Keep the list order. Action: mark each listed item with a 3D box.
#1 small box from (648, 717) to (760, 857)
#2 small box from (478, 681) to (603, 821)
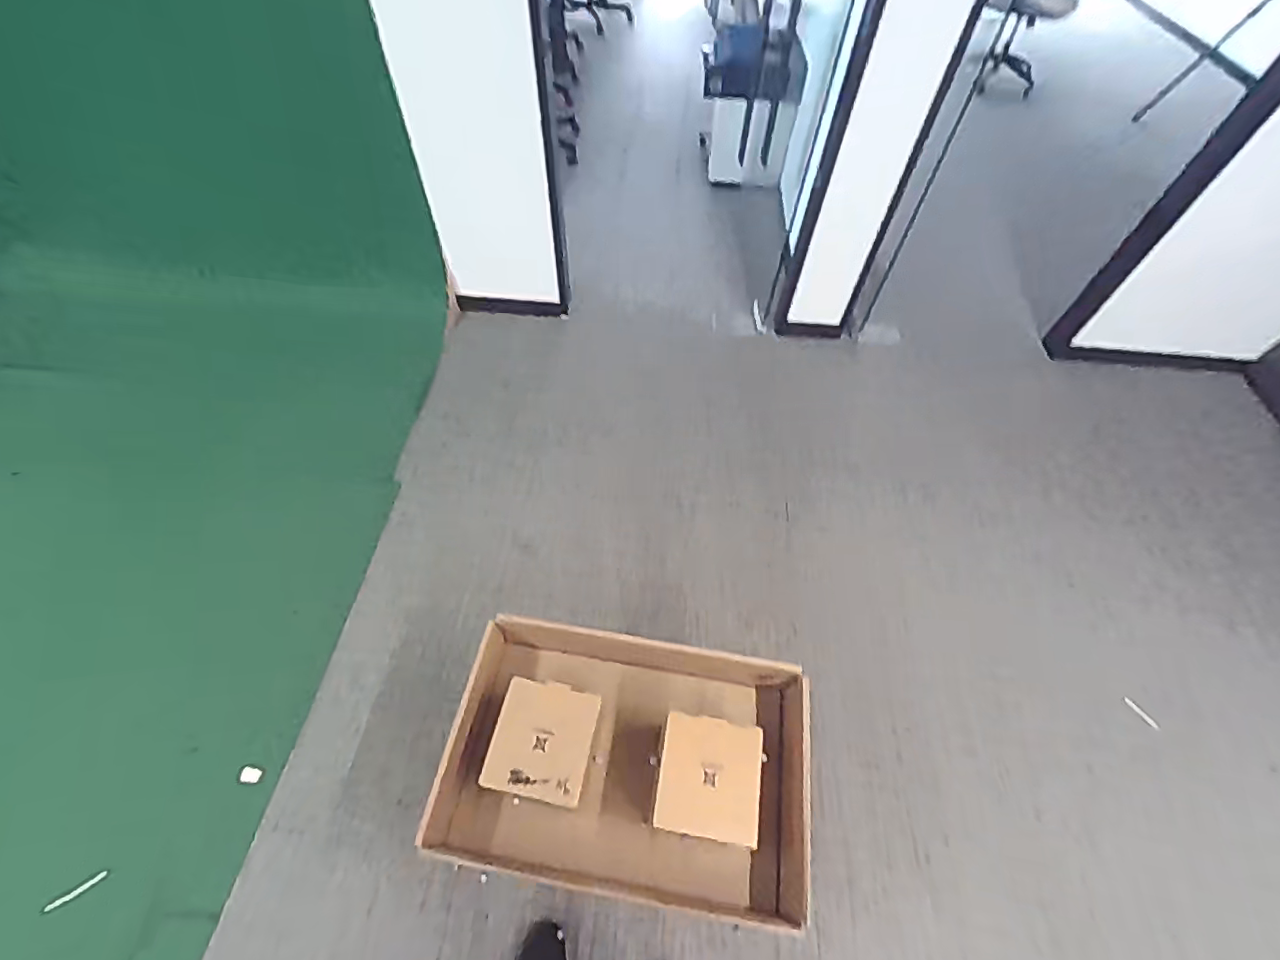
[{"bbox_3d":[0.108,0.537,0.945,0.168,0.176,0.179,10,55,5],"label":"small box"},{"bbox_3d":[-0.166,0.487,0.966,0.168,0.176,0.179,11,55,7],"label":"small box"}]
